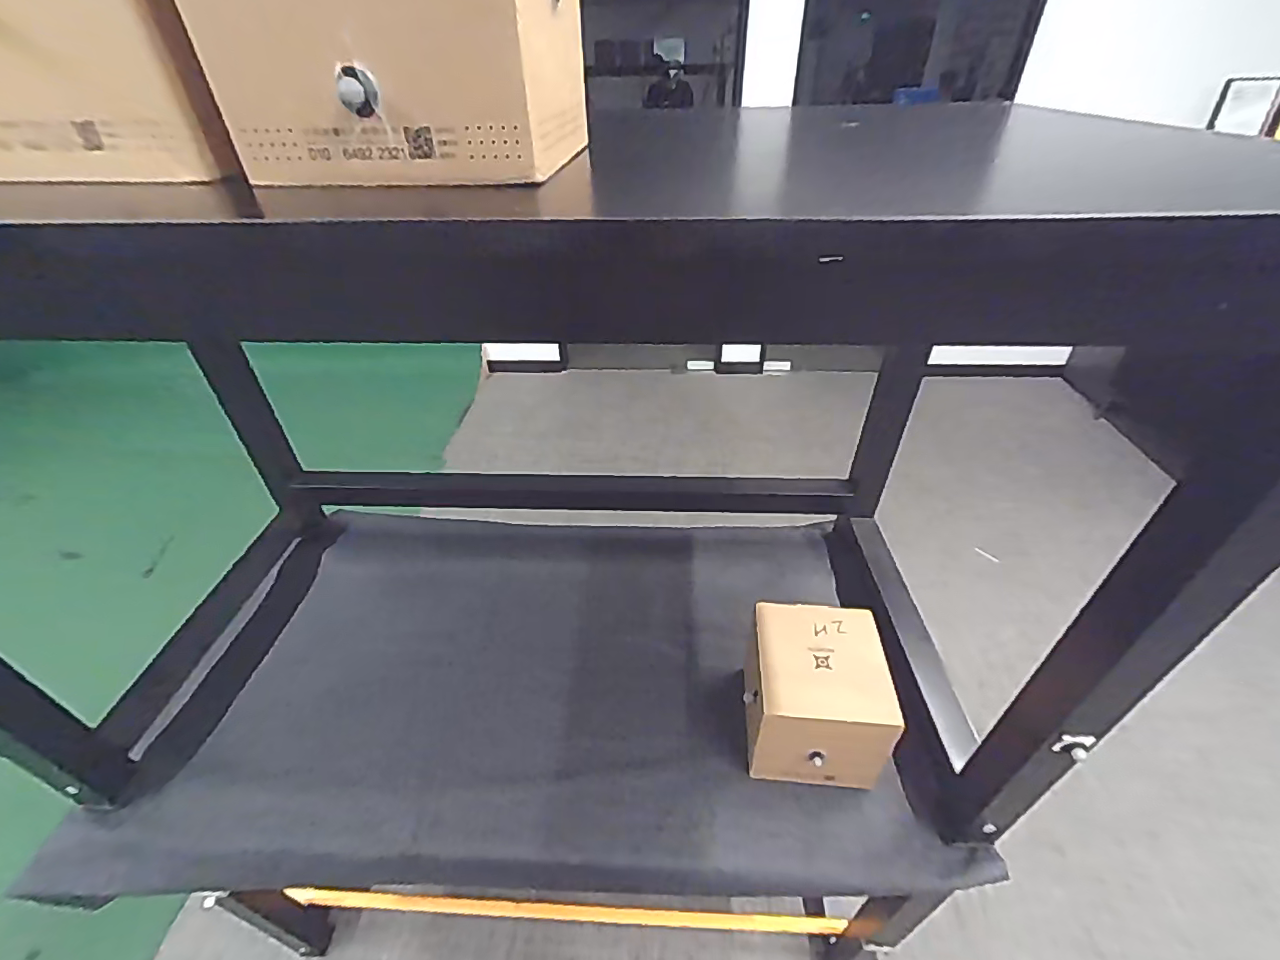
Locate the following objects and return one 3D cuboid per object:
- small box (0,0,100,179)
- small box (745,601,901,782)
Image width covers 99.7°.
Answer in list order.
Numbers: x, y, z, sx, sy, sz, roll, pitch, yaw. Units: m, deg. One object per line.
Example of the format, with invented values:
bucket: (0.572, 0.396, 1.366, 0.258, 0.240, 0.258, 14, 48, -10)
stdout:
small box: (-0.518, -0.287, 0.345, 0.168, 0.176, 0.179, 2, 39, 4)
small box: (0.241, 0.296, 0.760, 0.168, 0.176, 0.179, 3, 38, 5)
